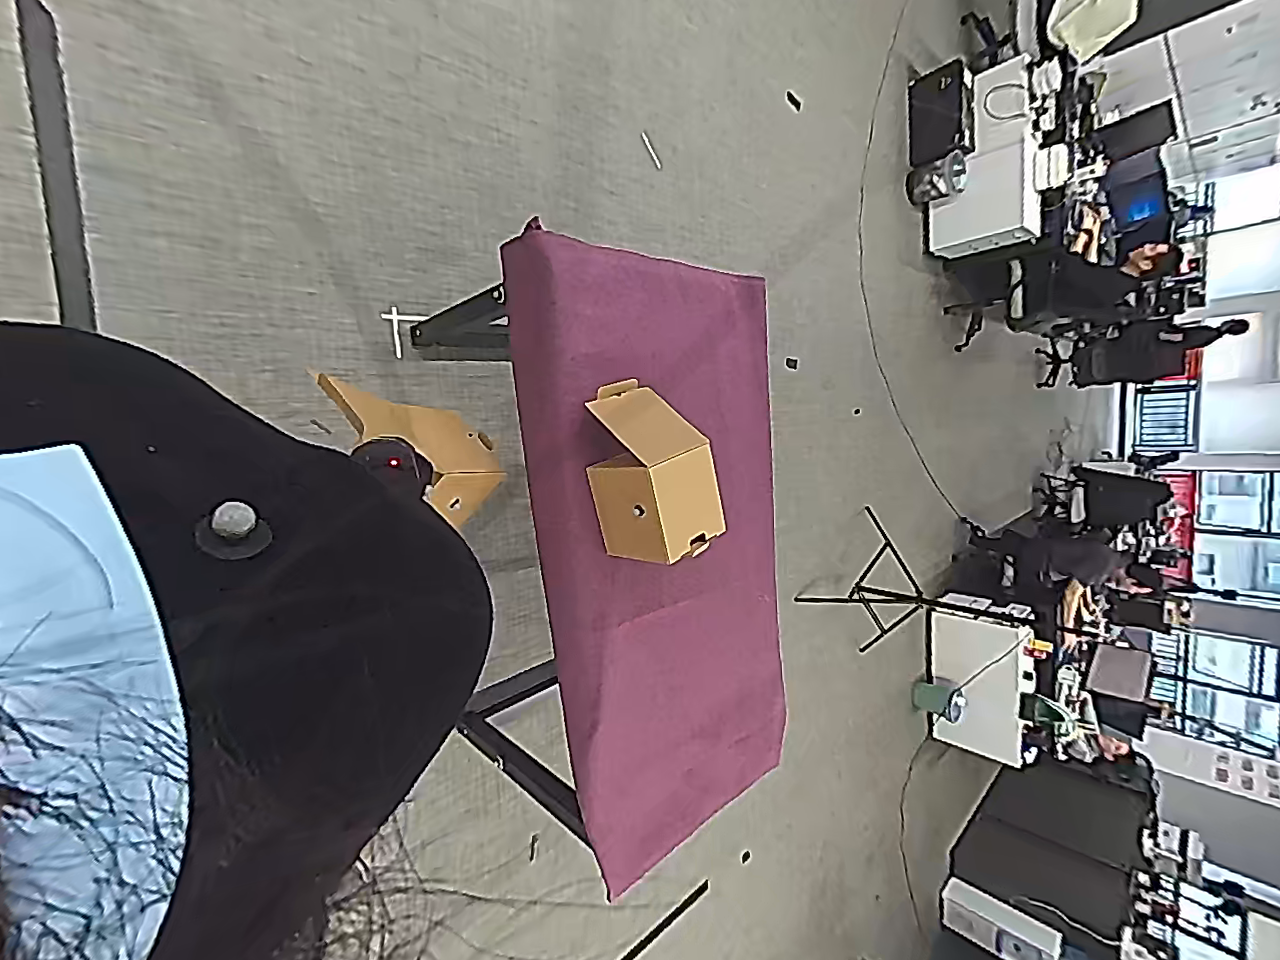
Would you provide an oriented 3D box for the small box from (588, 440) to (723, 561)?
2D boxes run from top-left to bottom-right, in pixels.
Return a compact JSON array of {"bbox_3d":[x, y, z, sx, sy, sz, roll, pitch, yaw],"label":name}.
[{"bbox_3d":[0.025,0.033,0.998,0.168,0.176,0.179,-23,106,-40],"label":"small box"}]
